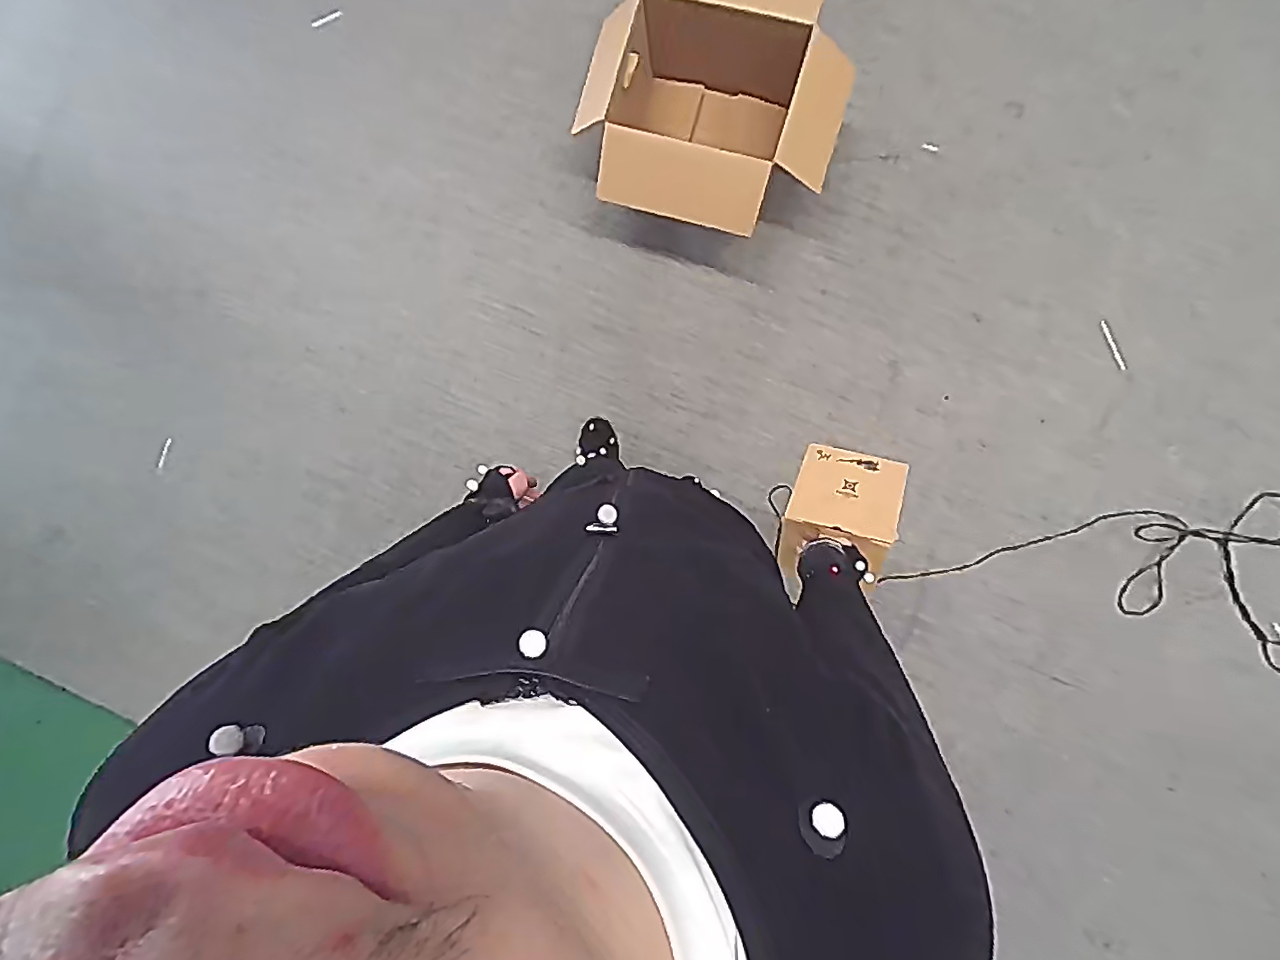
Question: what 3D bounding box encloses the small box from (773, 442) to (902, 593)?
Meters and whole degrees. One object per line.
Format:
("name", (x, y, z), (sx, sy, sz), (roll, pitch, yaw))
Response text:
("small box", (0.335, 0.067, 0.935), (0.168, 0.176, 0.179), (16, 53, 20))
